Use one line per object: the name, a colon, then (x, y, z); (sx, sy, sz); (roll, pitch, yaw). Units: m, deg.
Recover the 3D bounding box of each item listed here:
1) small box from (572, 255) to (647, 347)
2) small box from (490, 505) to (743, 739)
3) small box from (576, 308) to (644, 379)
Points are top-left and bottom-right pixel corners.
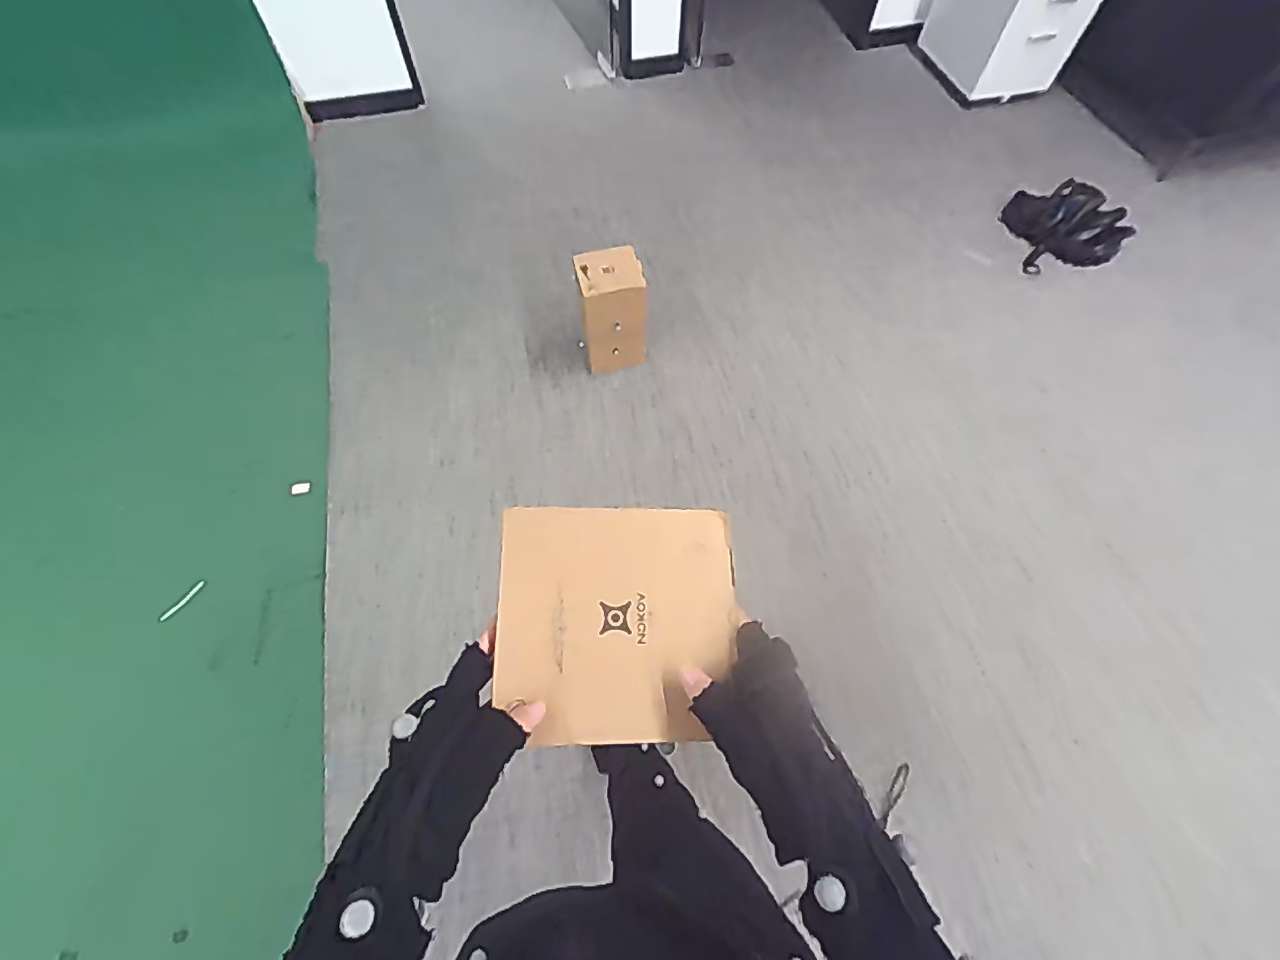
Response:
small box: (-0.088, -0.508, 1.547); (0.179, 0.176, 0.168); (-15, 64, -7)
small box: (-0.025, 0.125, 0.469); (0.179, 0.176, 0.168); (0, 69, -6)
small box: (-0.092, -0.443, 1.694); (0.179, 0.176, 0.168); (-14, 62, -6)
